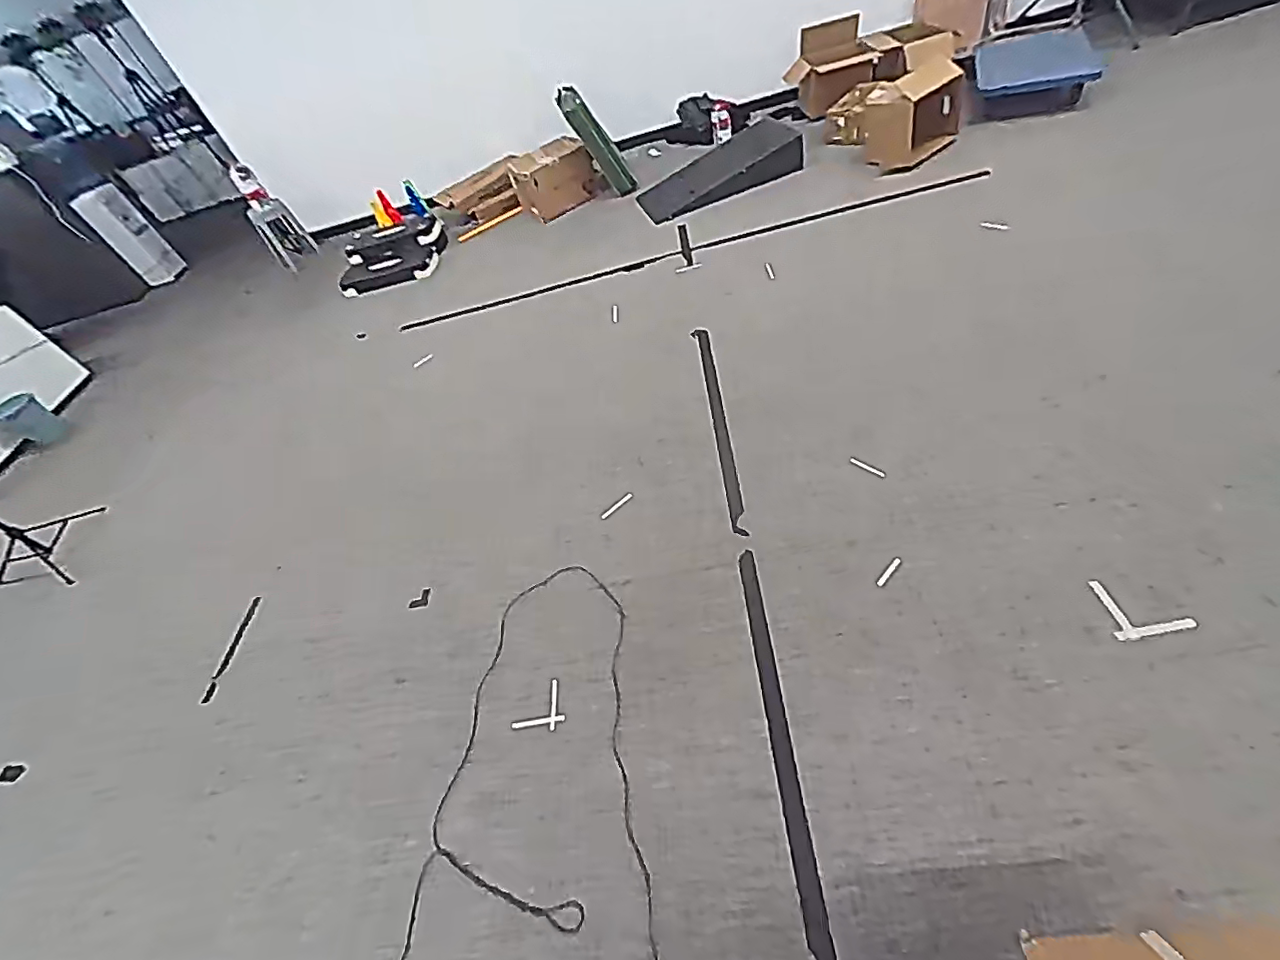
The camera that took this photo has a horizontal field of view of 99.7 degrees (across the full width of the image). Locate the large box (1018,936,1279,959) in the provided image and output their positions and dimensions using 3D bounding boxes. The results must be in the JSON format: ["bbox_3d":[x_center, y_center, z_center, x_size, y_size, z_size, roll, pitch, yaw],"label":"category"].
[{"bbox_3d":[0.652,0.729,0.497,0.320,0.408,0.320,-13,77,11],"label":"large box"}]
